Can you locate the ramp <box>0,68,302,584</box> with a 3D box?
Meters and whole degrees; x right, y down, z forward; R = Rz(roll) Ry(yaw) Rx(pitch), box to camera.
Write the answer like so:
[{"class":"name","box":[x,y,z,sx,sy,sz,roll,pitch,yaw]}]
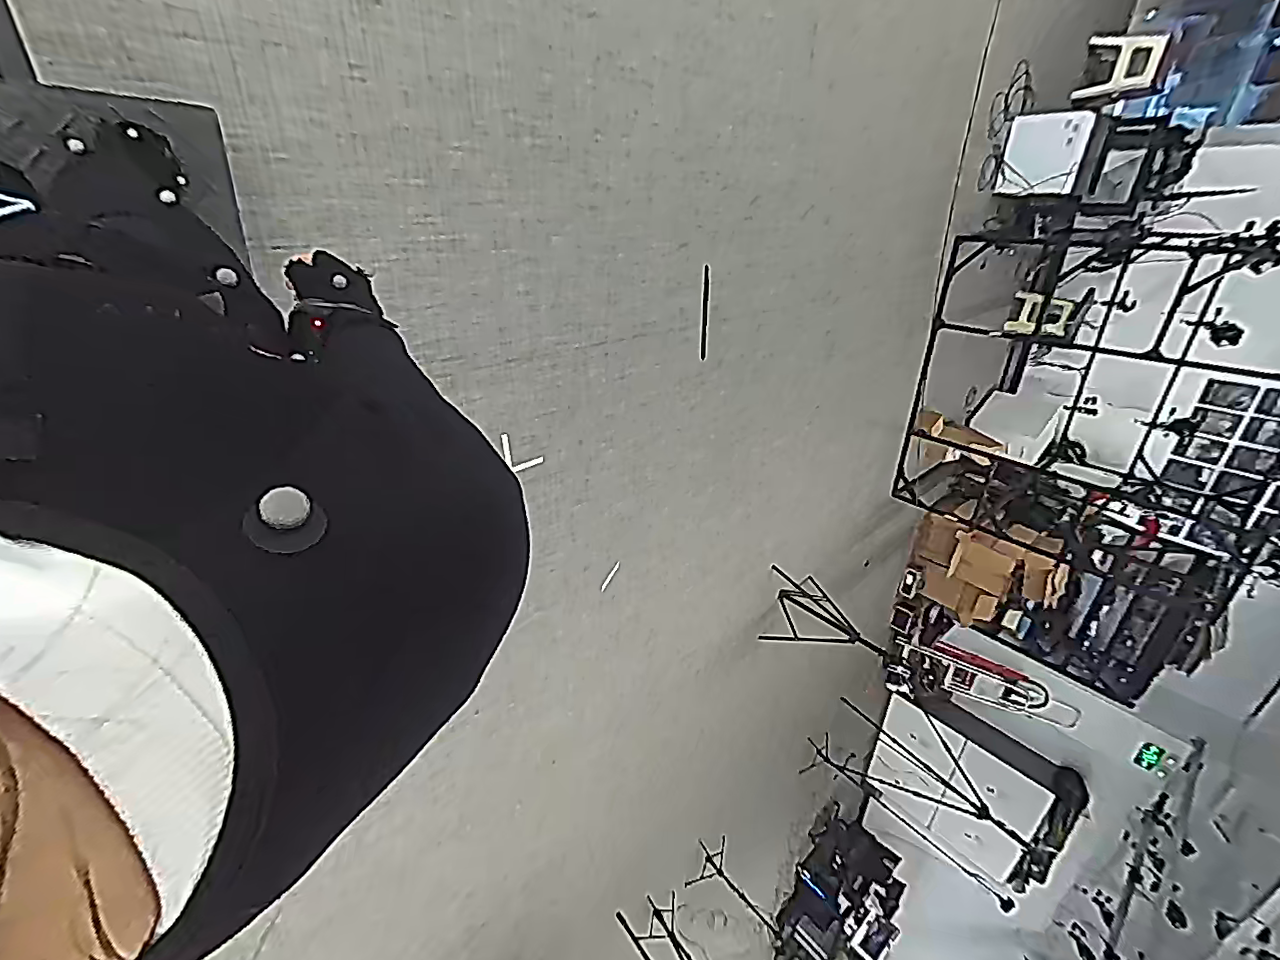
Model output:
[{"class":"ramp","box":[-1.052,-0.230,1.110,0.509,0.206,0.991,-21,126,-37]}]
